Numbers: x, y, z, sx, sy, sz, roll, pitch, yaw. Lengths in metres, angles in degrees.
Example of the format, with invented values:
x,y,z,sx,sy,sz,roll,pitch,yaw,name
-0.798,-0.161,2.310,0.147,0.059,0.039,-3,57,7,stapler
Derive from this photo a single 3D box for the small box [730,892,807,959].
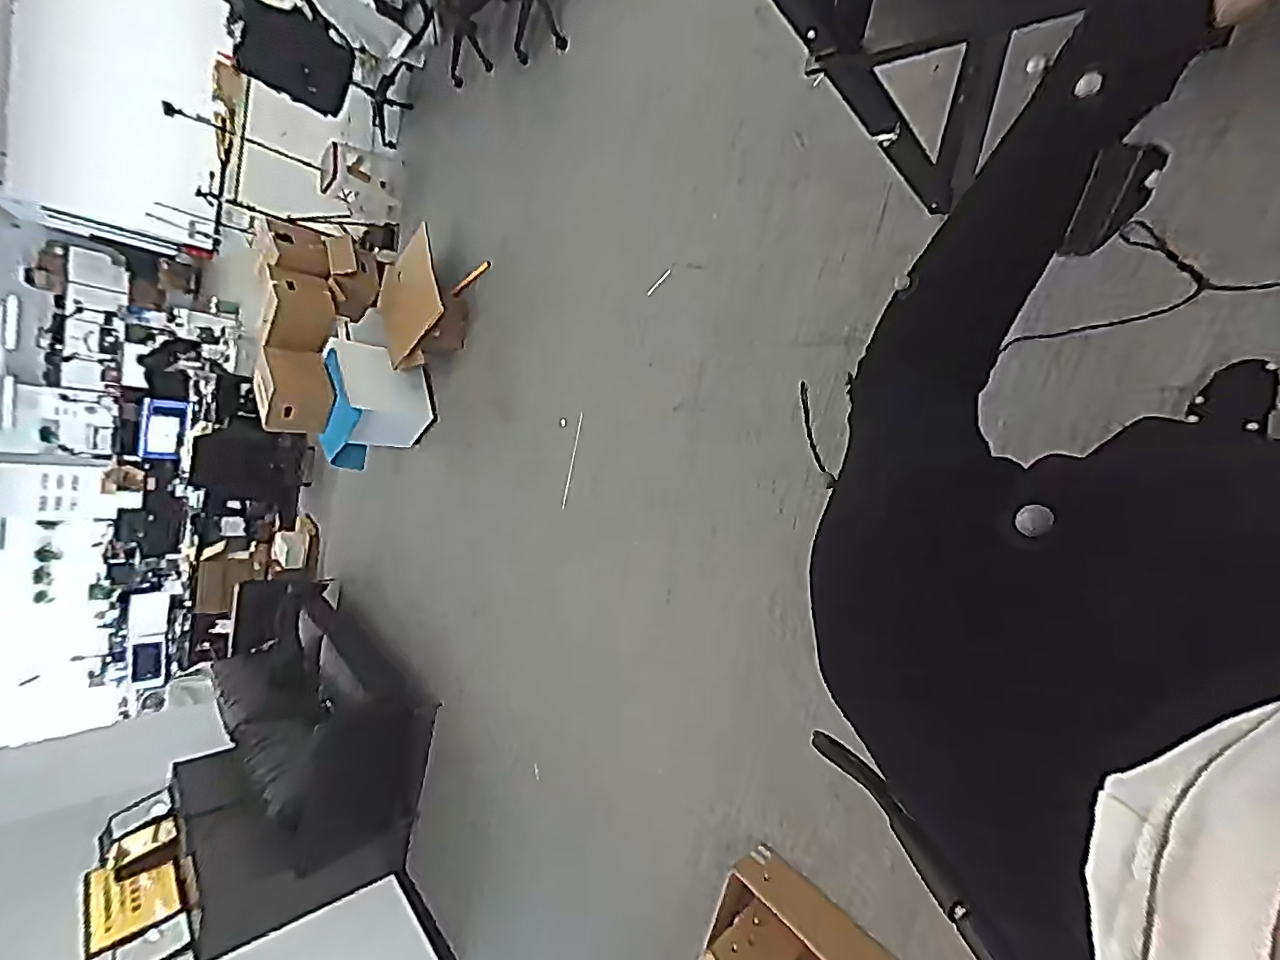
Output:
x,y,z,sx,sy,sz,roll,pitch,yaw,name
0.383,1.430,1.675,0.179,0.176,0.168,28,107,40,small box

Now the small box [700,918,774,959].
x,y,z,sx,sy,sz,roll,pitch,yaw,name
0.273,1.426,1.555,0.168,0.176,0.179,29,107,42,small box
